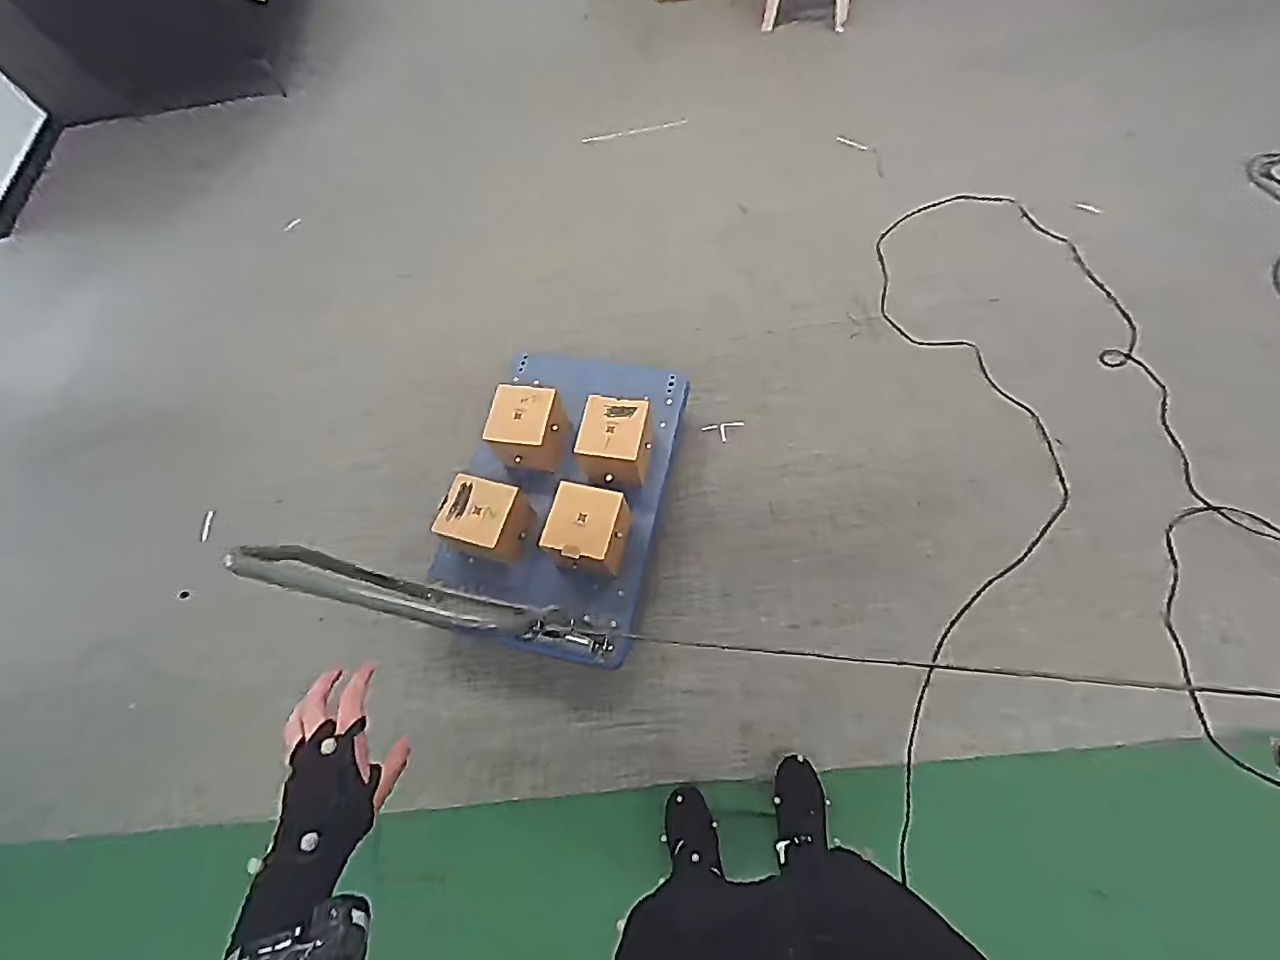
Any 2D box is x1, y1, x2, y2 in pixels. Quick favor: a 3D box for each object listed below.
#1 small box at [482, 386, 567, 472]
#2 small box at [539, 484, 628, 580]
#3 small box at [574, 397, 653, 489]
[{"bbox_3d":[-0.312,-0.136,1.502,0.168,0.176,0.179,7,68,9],"label":"small box"},{"bbox_3d":[-0.132,0.135,1.363,0.168,0.176,0.179,11,69,12],"label":"small box"},{"bbox_3d":[-0.063,-0.097,1.454,0.168,0.176,0.179,9,69,11],"label":"small box"}]
